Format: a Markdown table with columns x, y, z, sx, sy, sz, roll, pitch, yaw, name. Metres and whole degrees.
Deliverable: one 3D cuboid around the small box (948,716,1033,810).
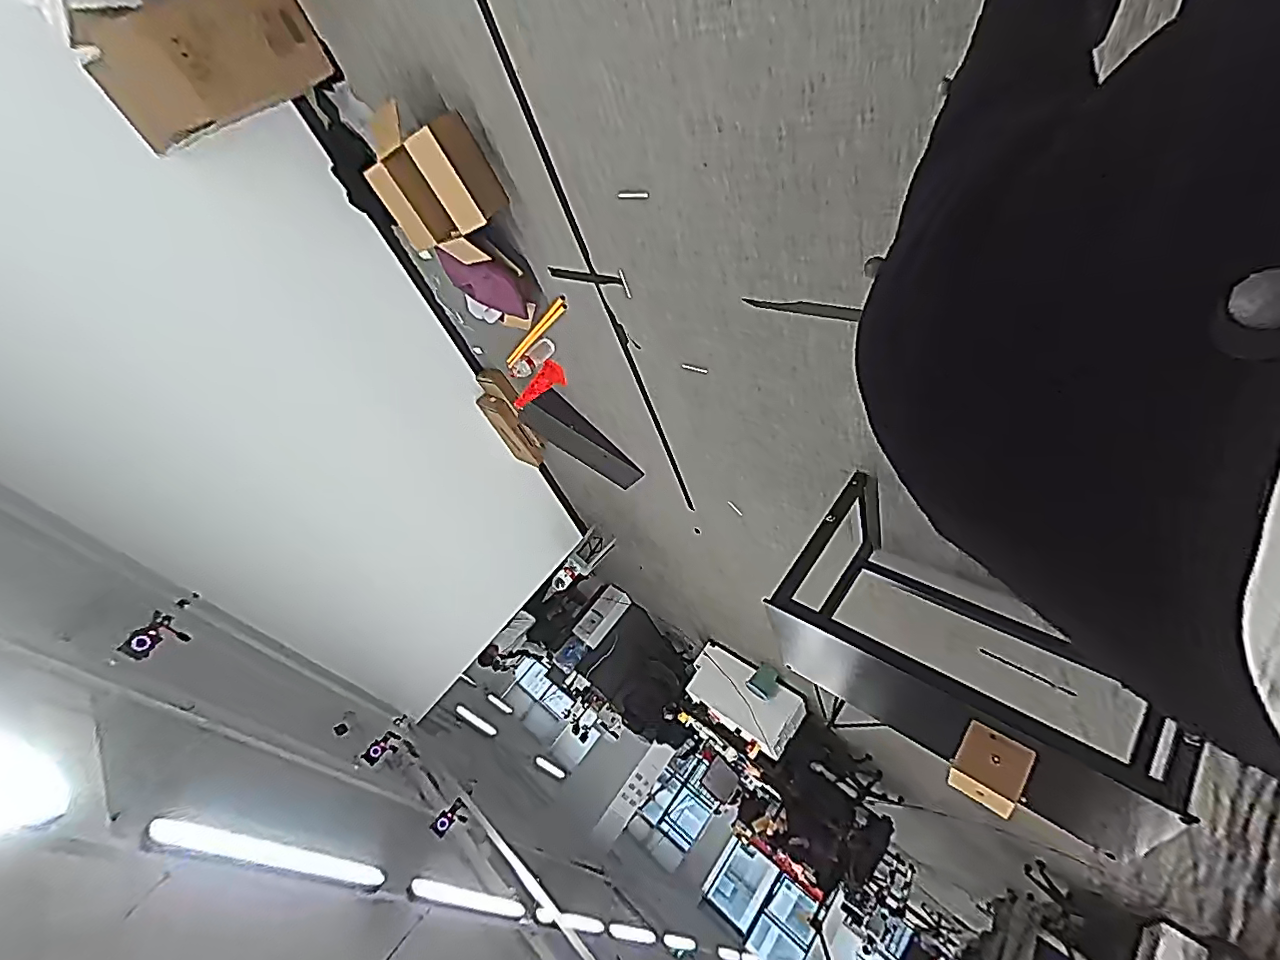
| x | y | z | sx | sy | sz | roll | pitch | yaw | name |
| --- | --- | --- | --- | --- | --- | --- | --- | --- | --- |
| 1.049 | 0.844 | 1.621 | 0.168 | 0.176 | 0.179 | 23 | 153 | 39 | small box |
